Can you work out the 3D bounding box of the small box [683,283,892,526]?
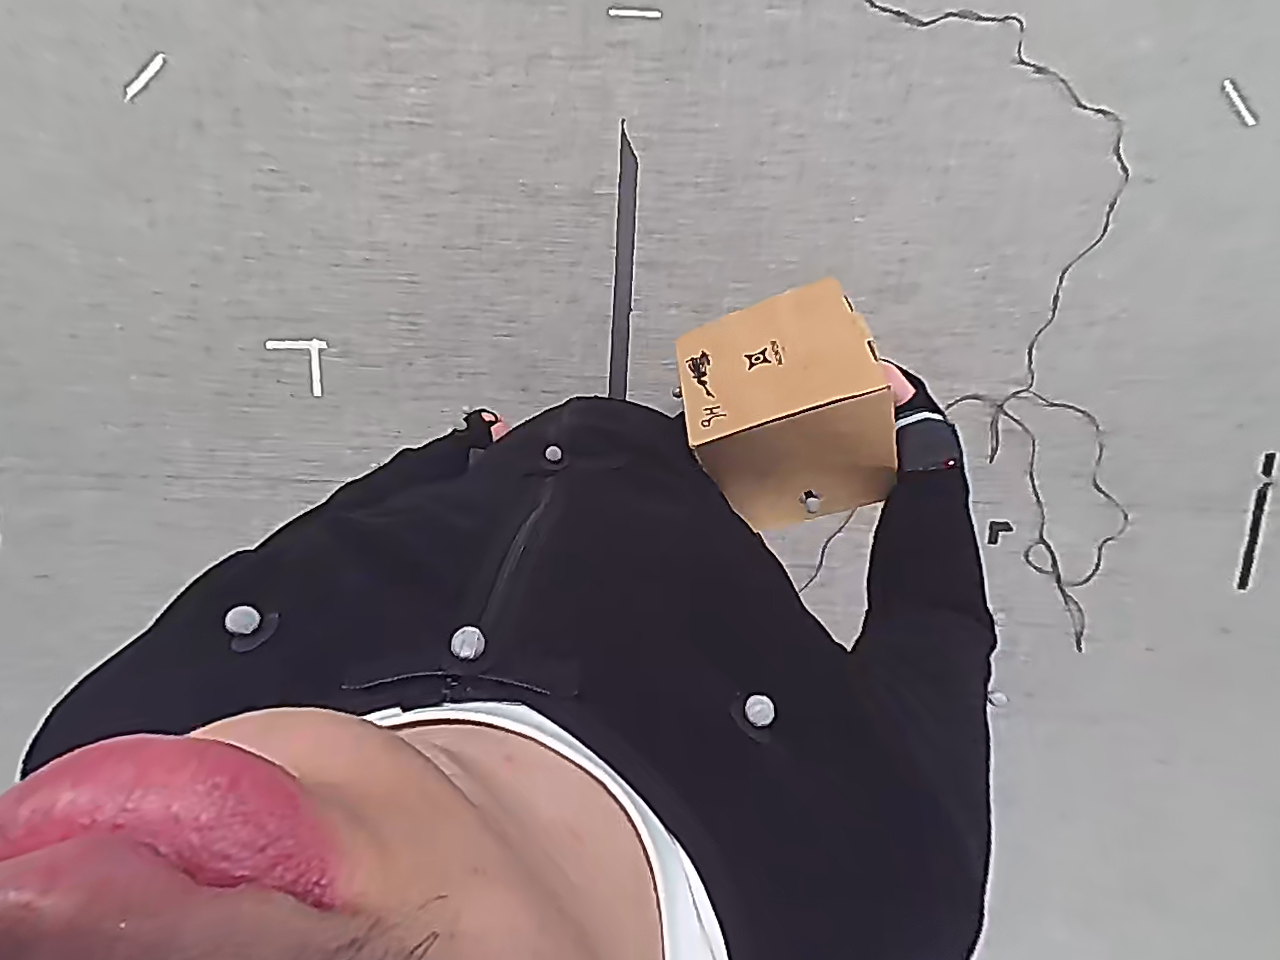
[{"bbox_3d":[0.160,-0.073,0.590,0.179,0.168,0.176,-16,139,15],"label":"small box"}]
